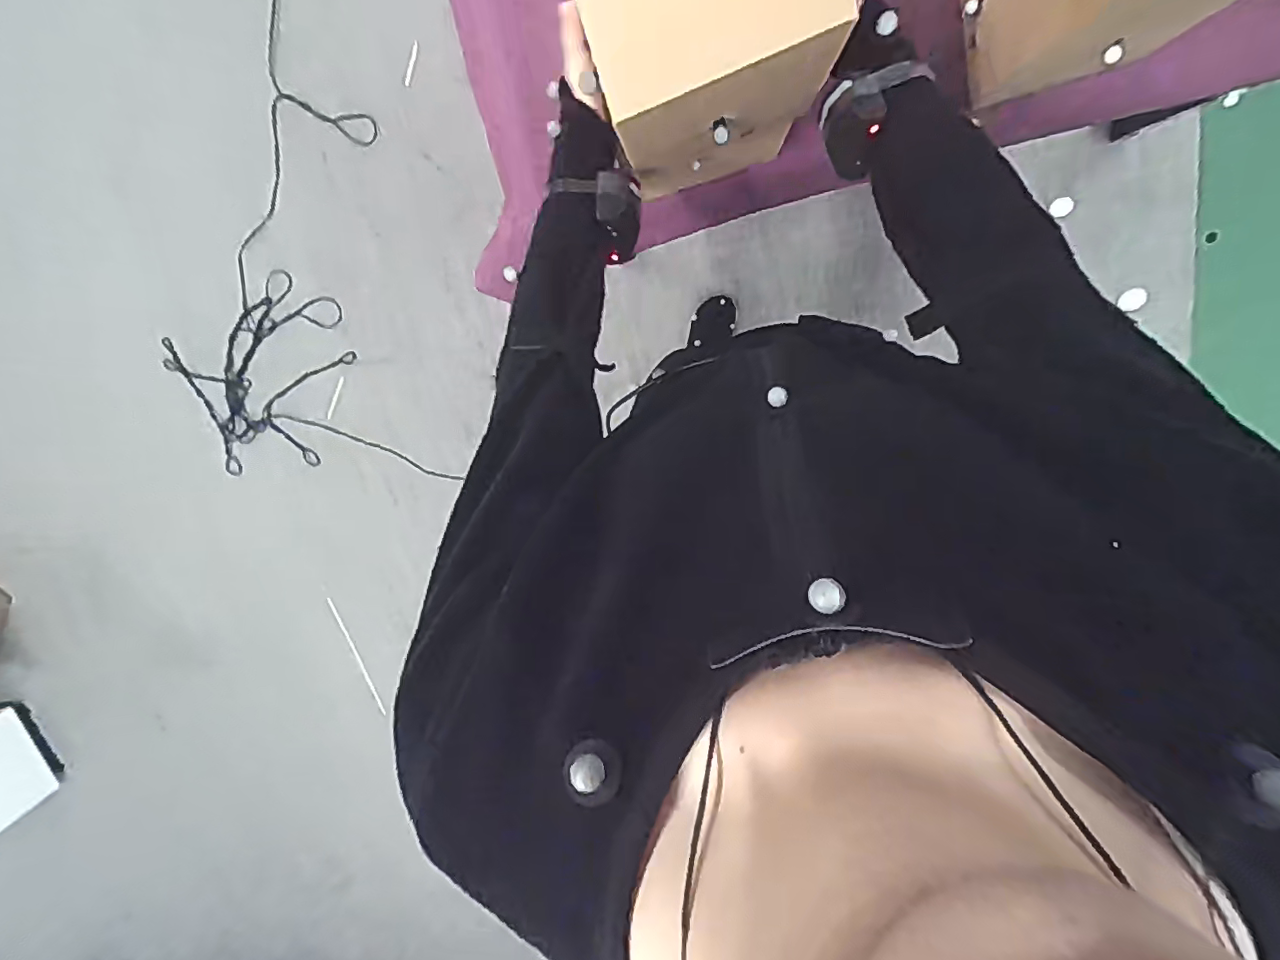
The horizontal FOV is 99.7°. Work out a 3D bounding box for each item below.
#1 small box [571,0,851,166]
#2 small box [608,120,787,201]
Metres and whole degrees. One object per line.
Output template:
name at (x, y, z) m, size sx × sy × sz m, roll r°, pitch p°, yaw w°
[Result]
small box at (0.039, -0.363, 0.403) m, size 0.168 × 0.176 × 0.179 m, roll -16°, pitch 102°, yaw 11°
small box at (0.053, -0.414, 0.561) m, size 0.179 × 0.176 × 0.168 m, roll -13°, pitch 104°, yaw 9°
